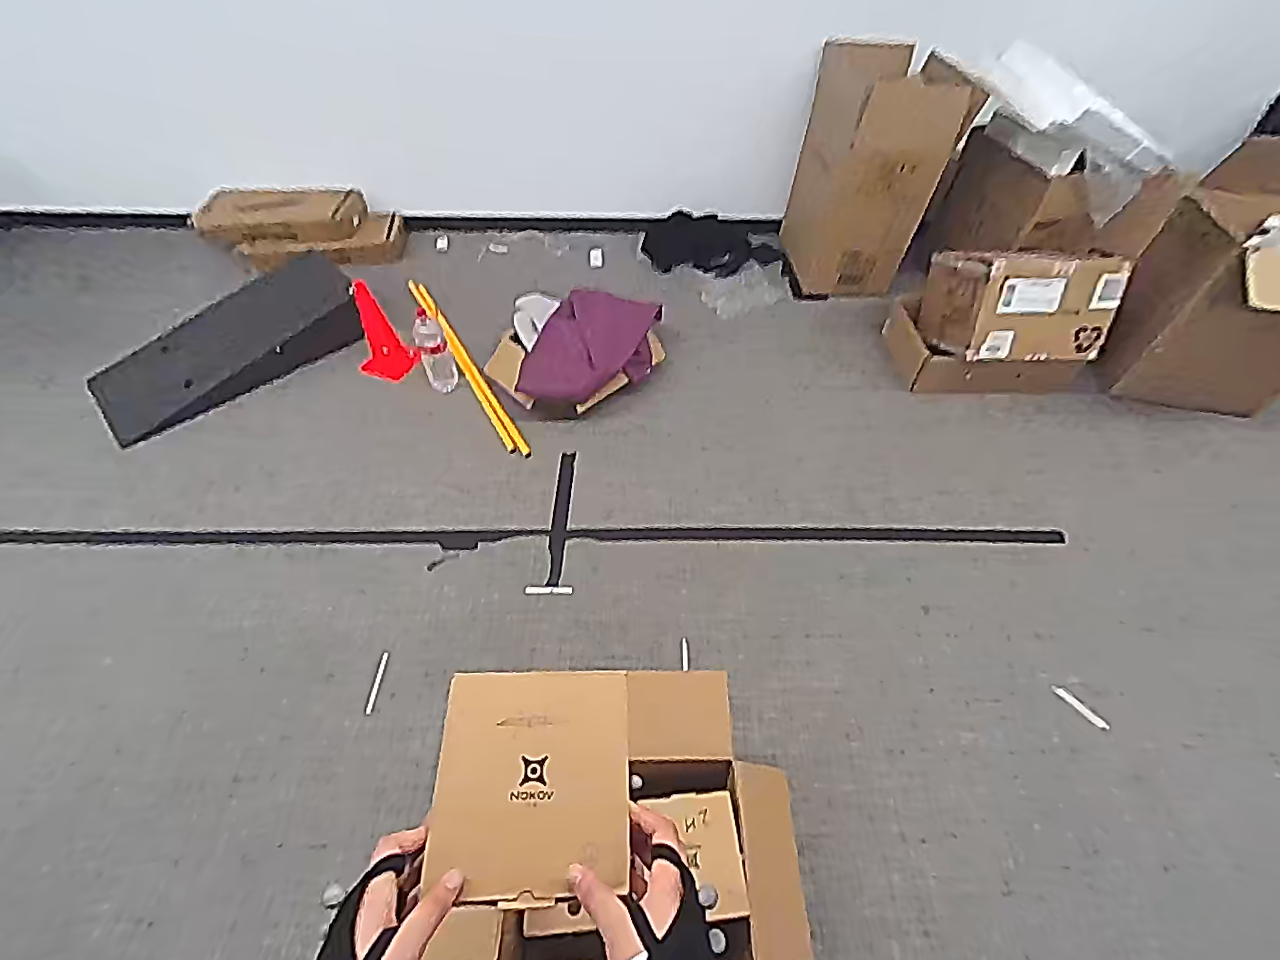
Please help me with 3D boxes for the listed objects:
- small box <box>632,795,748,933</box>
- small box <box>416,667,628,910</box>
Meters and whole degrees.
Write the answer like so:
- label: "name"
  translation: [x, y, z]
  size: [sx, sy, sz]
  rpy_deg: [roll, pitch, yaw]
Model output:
- label: "small box"
  translation: [0.077, 0.673, 0.953]
  size: [0.168, 0.176, 0.179]
  rpy_deg: [-2, 51, -7]
- label: "small box"
  translation: [-0.097, 0.292, 0.524]
  size: [0.168, 0.176, 0.179]
  rpy_deg: [0, 57, -6]
